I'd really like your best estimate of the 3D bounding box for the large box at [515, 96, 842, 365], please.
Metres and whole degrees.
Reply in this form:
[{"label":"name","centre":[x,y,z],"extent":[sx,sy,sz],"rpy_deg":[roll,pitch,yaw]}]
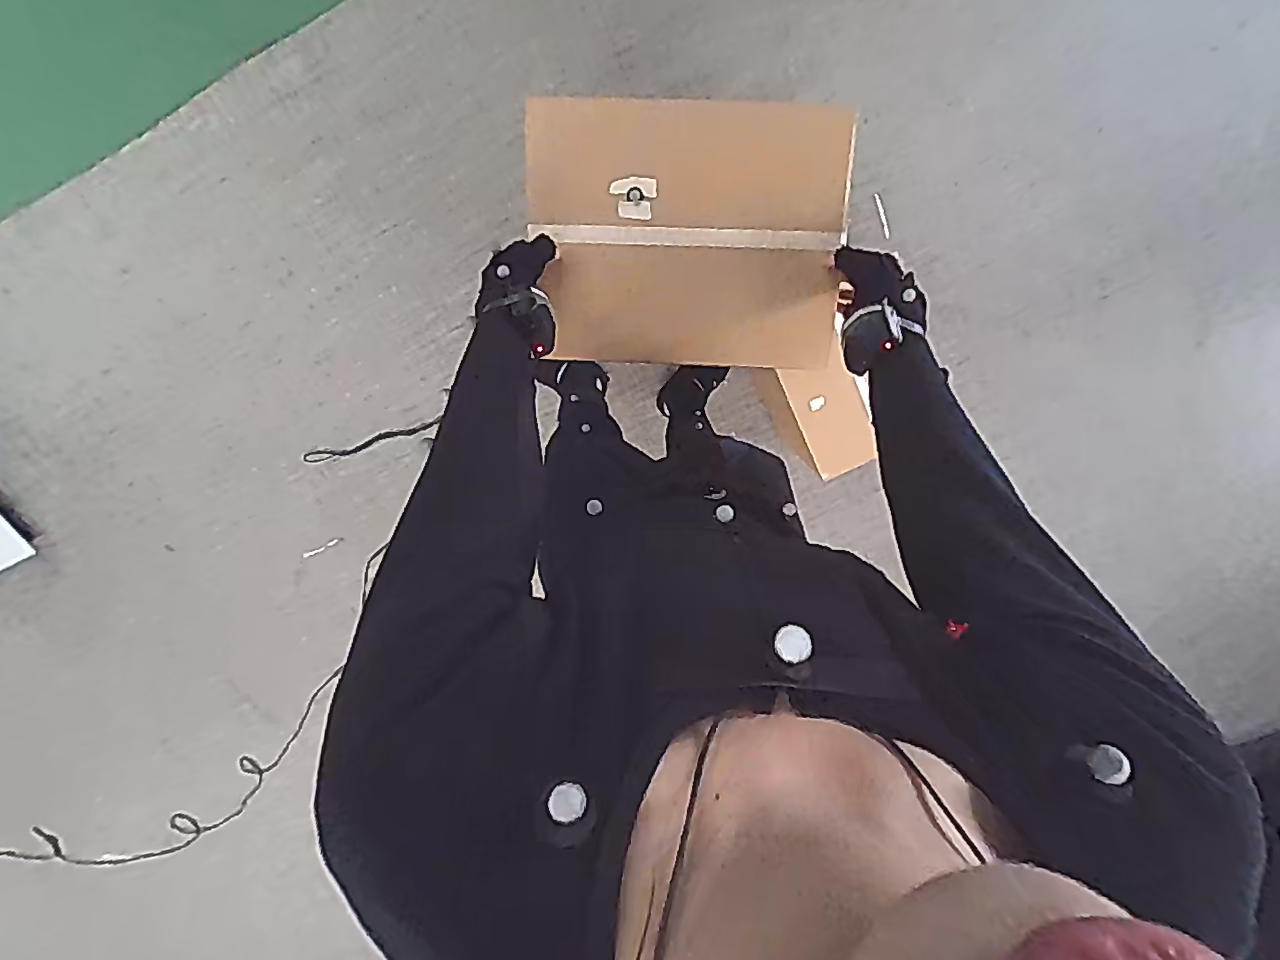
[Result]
[{"label":"large box","centre":[0.053,-0.346,0.830],"extent":[0.408,0.320,0.320],"rpy_deg":[2,104,3]}]
